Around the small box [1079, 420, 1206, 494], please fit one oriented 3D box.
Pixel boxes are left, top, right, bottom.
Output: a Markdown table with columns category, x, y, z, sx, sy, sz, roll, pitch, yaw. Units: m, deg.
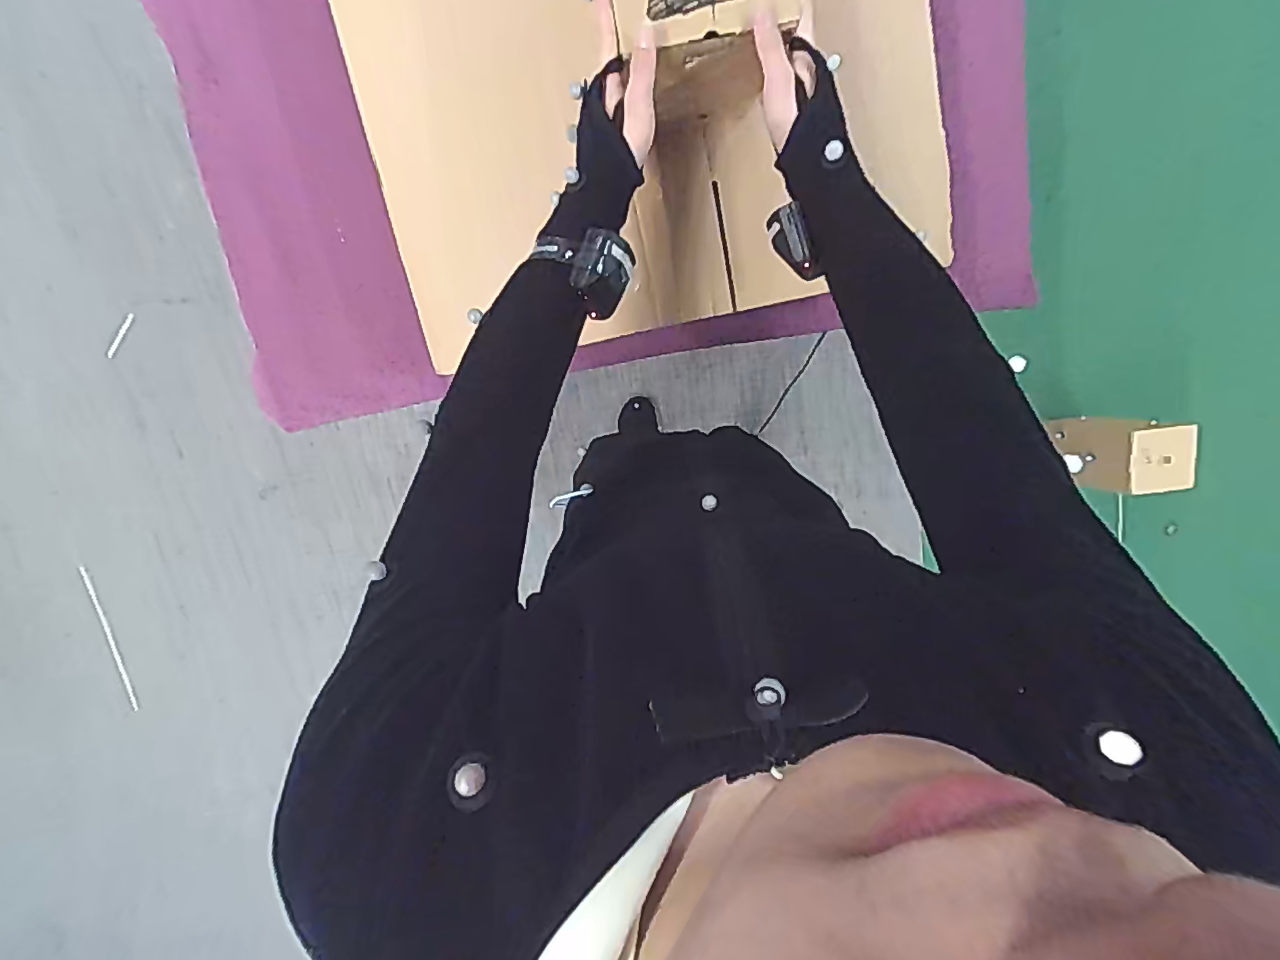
| category | x | y | z | sx | sy | sz | roll | pitch | yaw |
| --- | --- | --- | --- | --- | --- | --- | --- | --- | --- |
| small box | 1.318 | -0.065 | 1.427 | 0.179 | 0.176 | 0.168 | -6 | 100 | -2 |

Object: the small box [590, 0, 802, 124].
| category | x | y | z | sx | sy | sz | roll | pitch | yaw |
| --- | --- | --- | --- | --- | --- | --- | --- | --- | --- |
| small box | 0.041 | -0.483 | 0.532 | 0.168 | 0.176 | 0.179 | -13 | 100 | -3 |
